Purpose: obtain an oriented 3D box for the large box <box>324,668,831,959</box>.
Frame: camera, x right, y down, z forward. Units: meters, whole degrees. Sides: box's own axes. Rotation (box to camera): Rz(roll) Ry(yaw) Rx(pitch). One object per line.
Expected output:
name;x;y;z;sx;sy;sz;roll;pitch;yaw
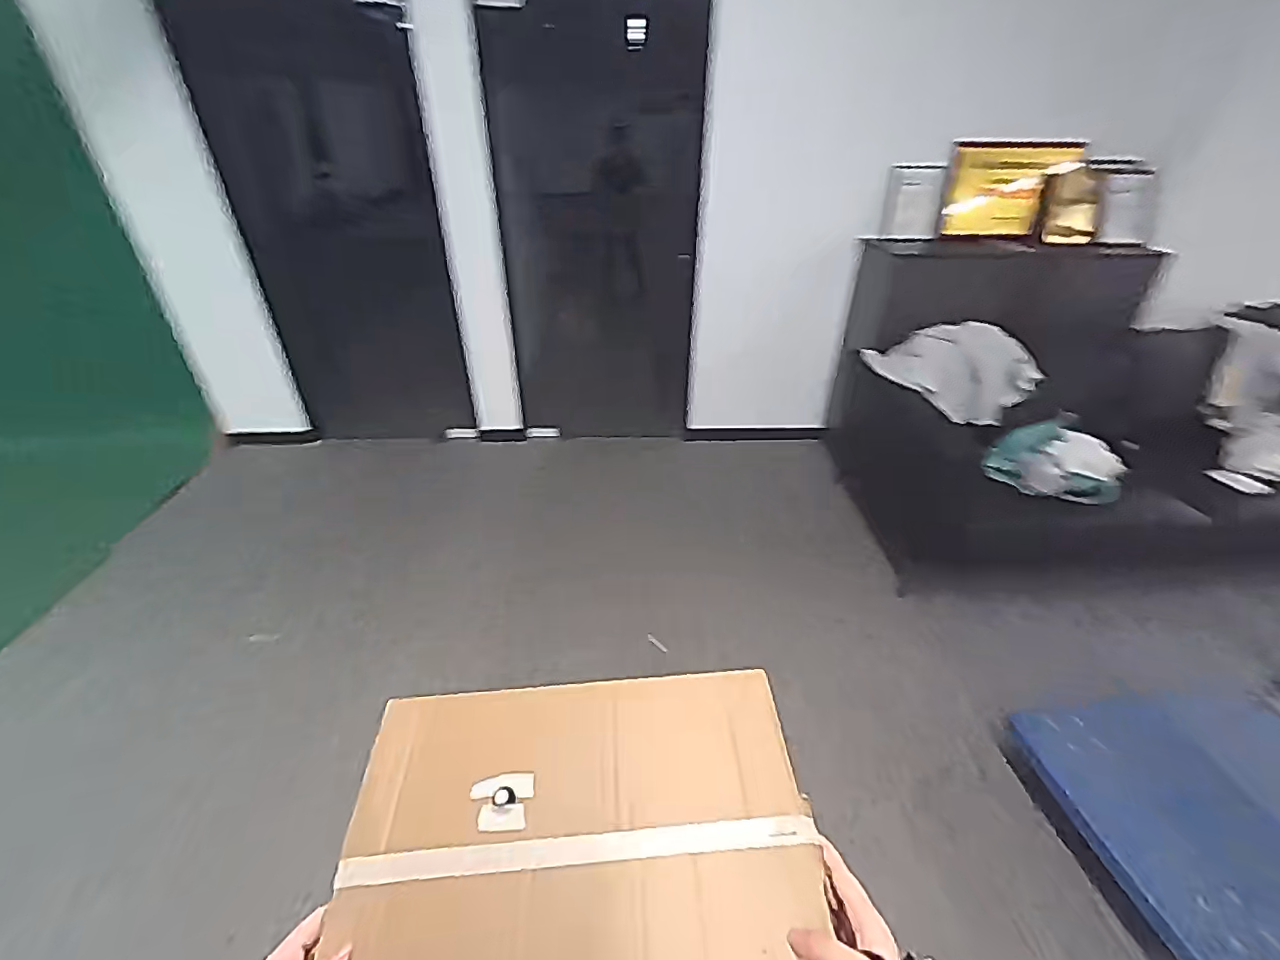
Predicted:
large box;-0.048;0.440;0.573;0.408;0.320;0.320;-7;41;-1
